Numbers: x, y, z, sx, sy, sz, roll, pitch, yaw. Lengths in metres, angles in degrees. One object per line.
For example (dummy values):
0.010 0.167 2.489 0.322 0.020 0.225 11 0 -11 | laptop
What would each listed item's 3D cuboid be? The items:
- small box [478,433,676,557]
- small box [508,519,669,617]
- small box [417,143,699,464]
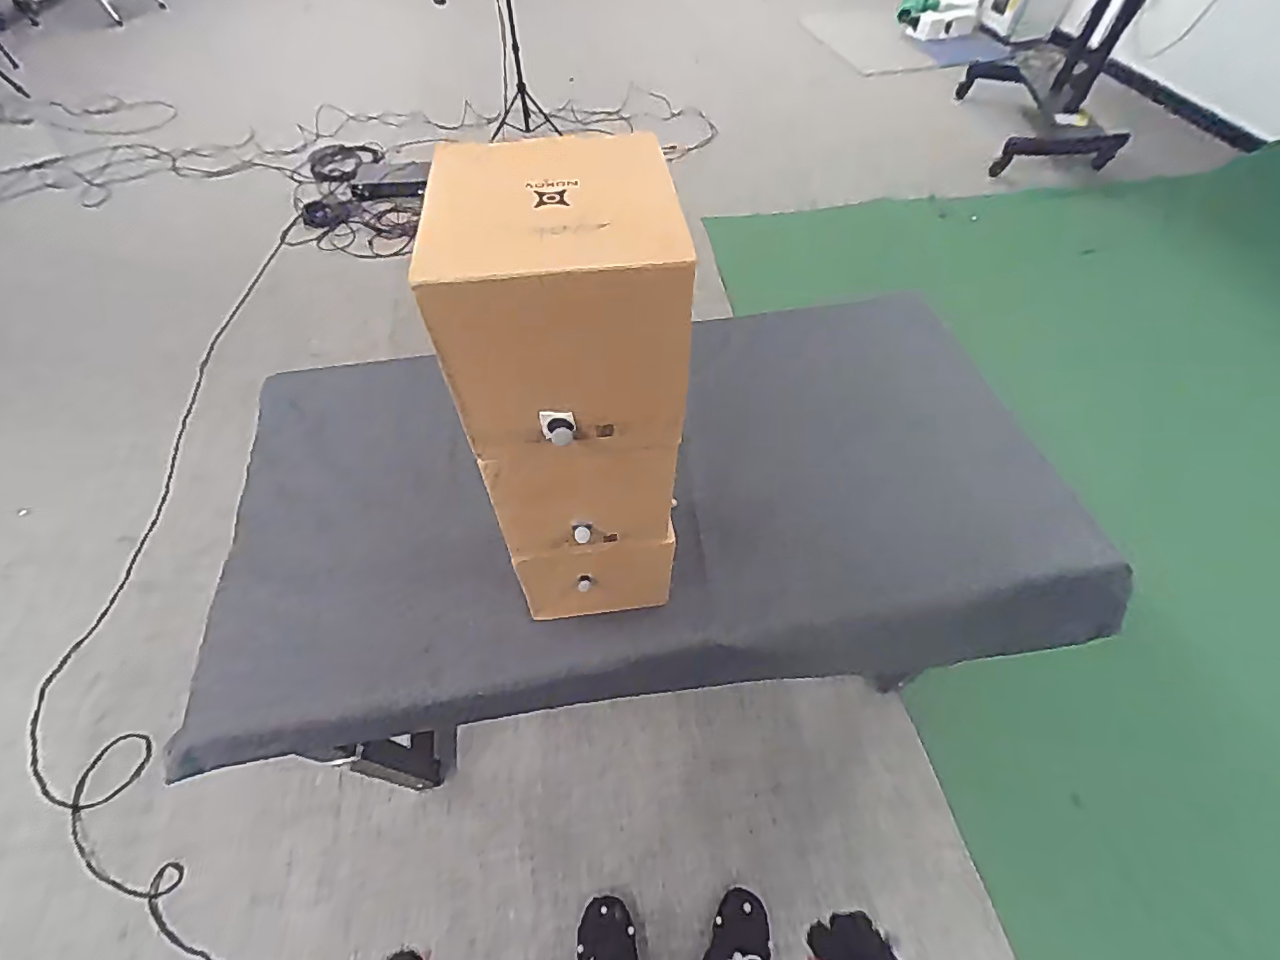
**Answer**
-0.062 -0.041 0.556 0.168 0.176 0.179 -5 55 -5 | small box
-0.062 0.061 0.685 0.179 0.176 0.168 -5 54 -5 | small box
-0.056 -0.134 0.424 0.168 0.176 0.179 -6 55 -4 | small box
